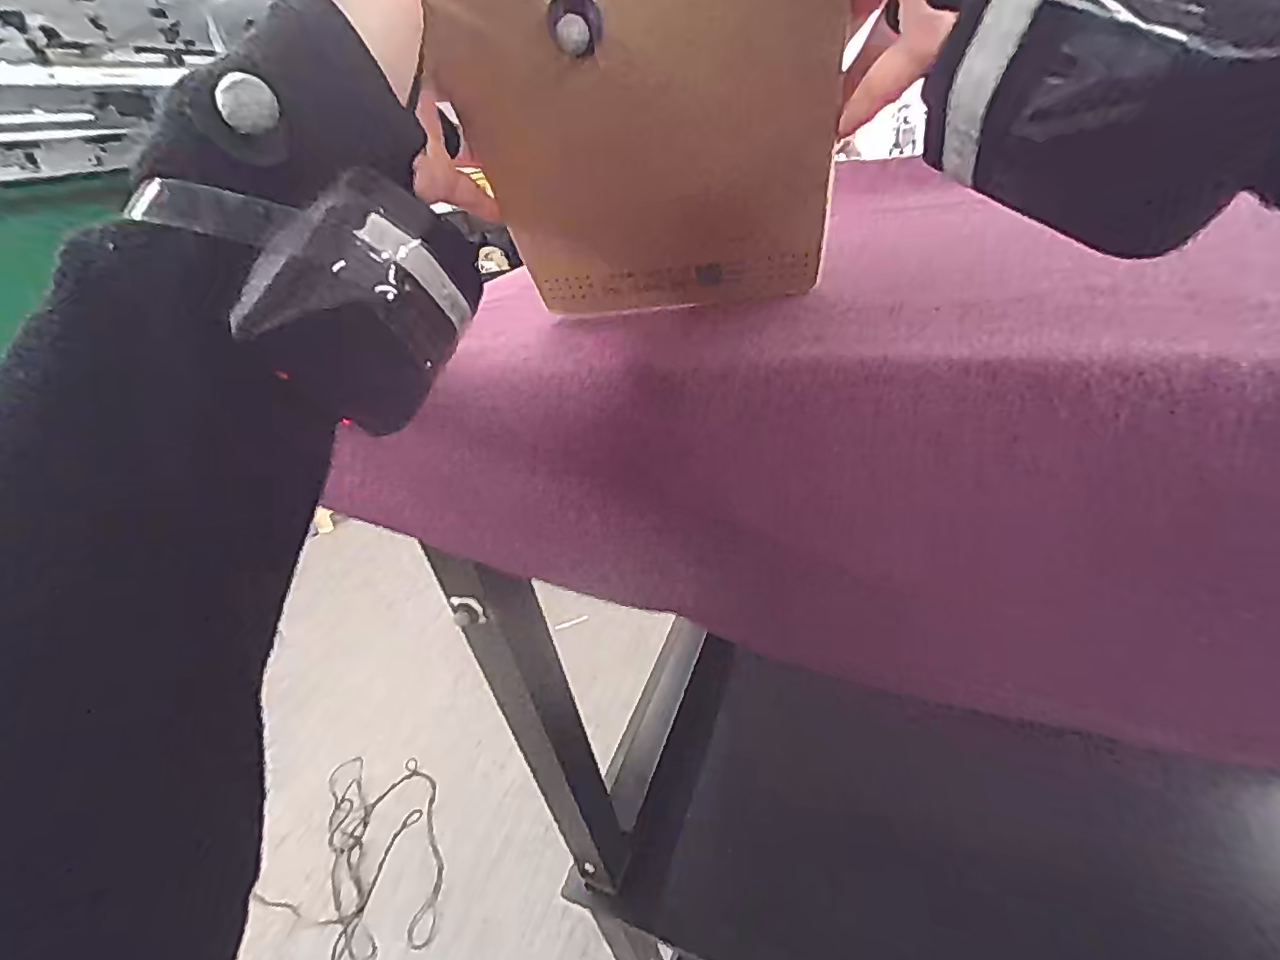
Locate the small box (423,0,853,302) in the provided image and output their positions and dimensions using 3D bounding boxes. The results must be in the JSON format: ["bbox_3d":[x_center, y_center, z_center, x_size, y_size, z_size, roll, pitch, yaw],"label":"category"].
[{"bbox_3d":[0.013,-0.222,0.288,0.168,0.176,0.179,-1,61,13],"label":"small box"}]
